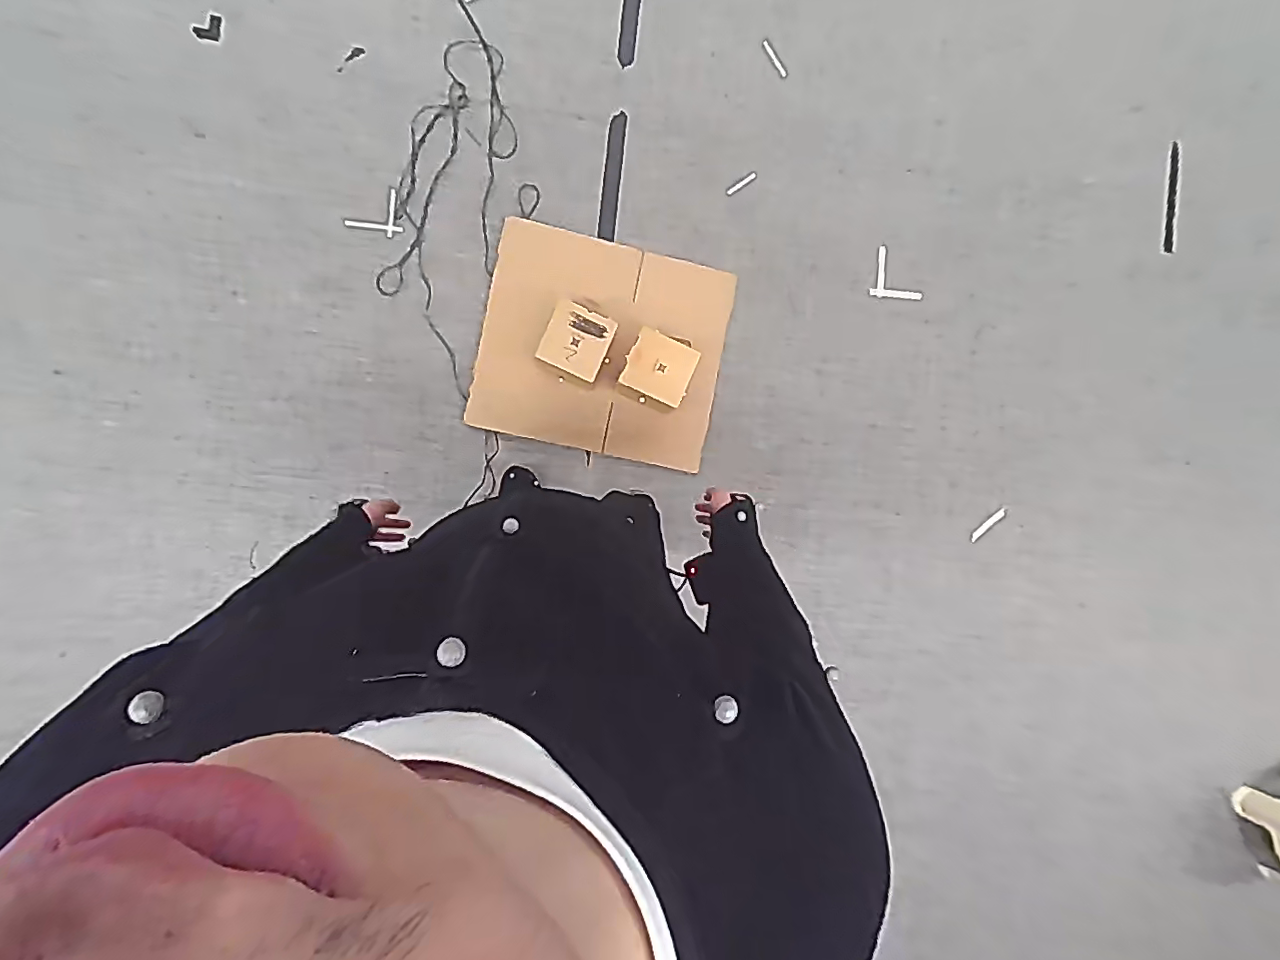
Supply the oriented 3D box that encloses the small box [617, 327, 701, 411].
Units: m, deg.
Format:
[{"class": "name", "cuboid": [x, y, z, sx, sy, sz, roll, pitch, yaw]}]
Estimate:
[{"class": "small box", "cuboid": [0.047, -0.304, 1.526, 0.179, 0.176, 0.168, 24, 88, -5]}]
